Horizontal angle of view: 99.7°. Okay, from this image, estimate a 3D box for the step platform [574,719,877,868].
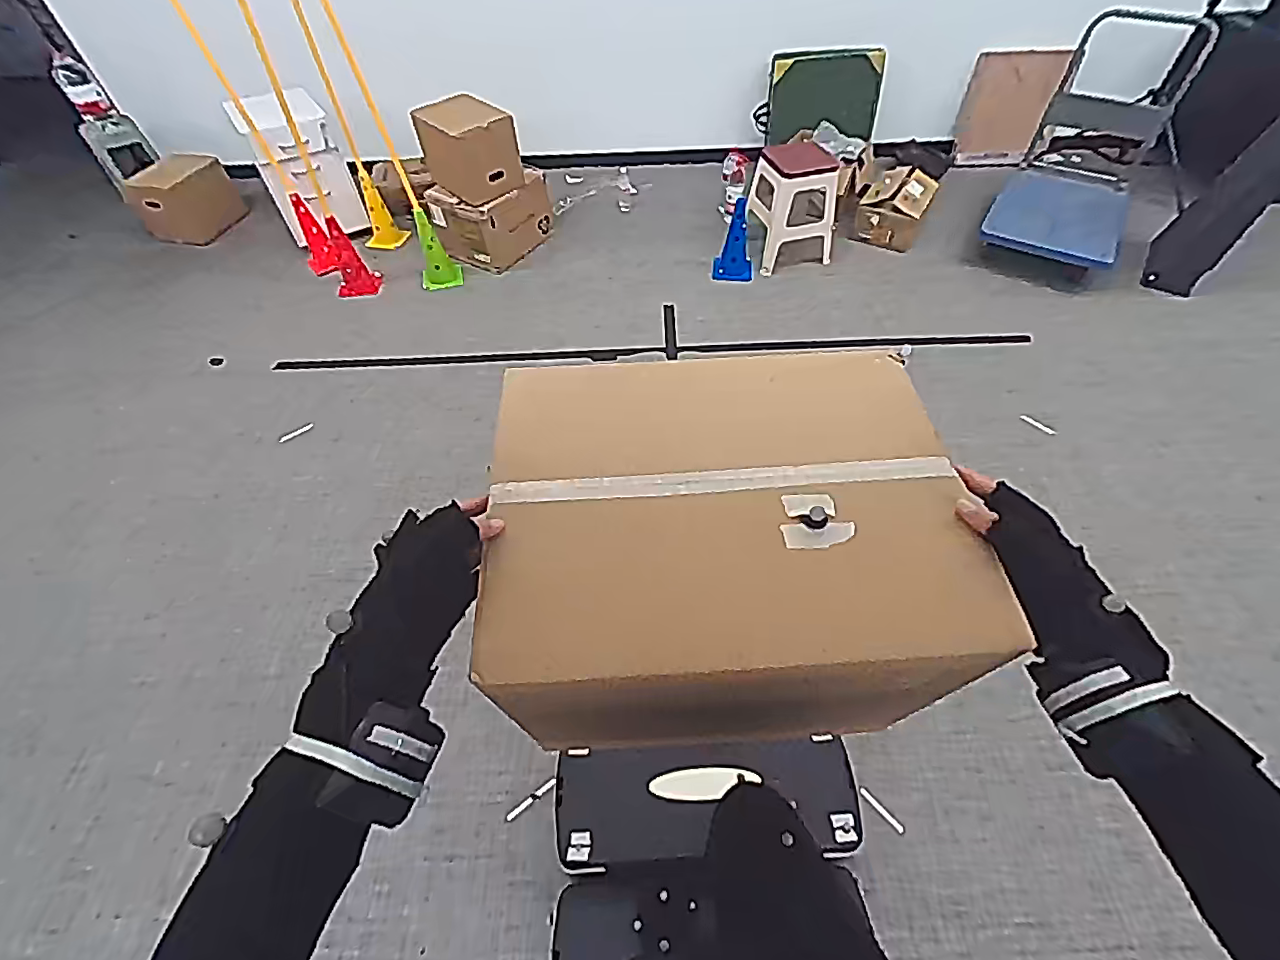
[{"bbox_3d":[0.187,0.721,1.284,0.684,0.204,0.286,-3,52,-2],"label":"step platform"}]

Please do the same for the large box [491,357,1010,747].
[{"bbox_3d":[0.074,0.091,0.607,0.408,0.320,0.320,-4,56,-2],"label":"large box"}]
